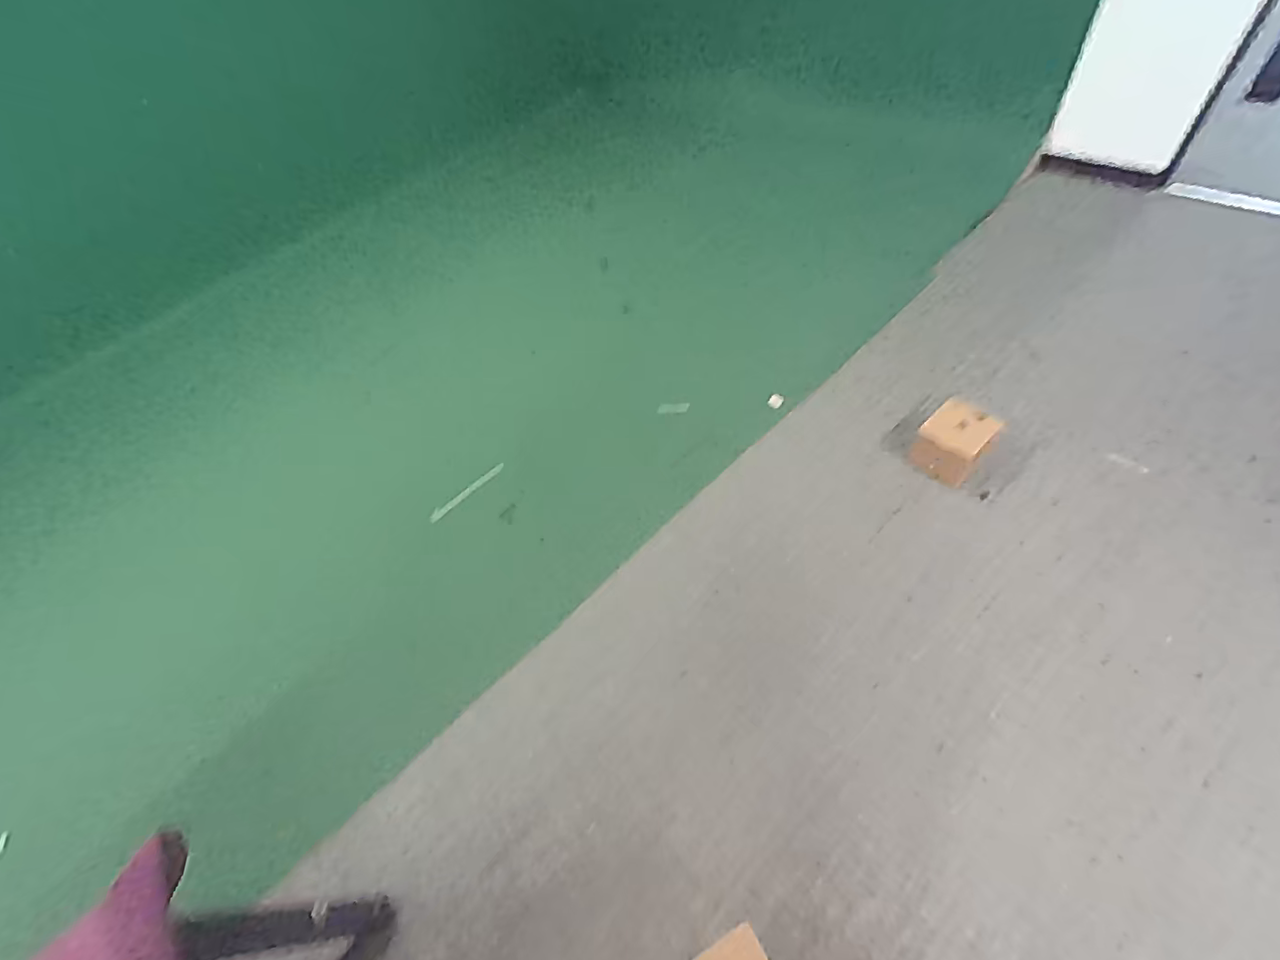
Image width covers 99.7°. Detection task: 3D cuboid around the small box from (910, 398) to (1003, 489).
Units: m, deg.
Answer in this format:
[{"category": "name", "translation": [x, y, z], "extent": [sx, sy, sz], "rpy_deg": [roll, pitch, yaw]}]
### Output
[{"category": "small box", "translation": [0.945, -0.105, 1.633], "extent": [0.179, 0.176, 0.168], "rpy_deg": [-40, 56, -15]}]
